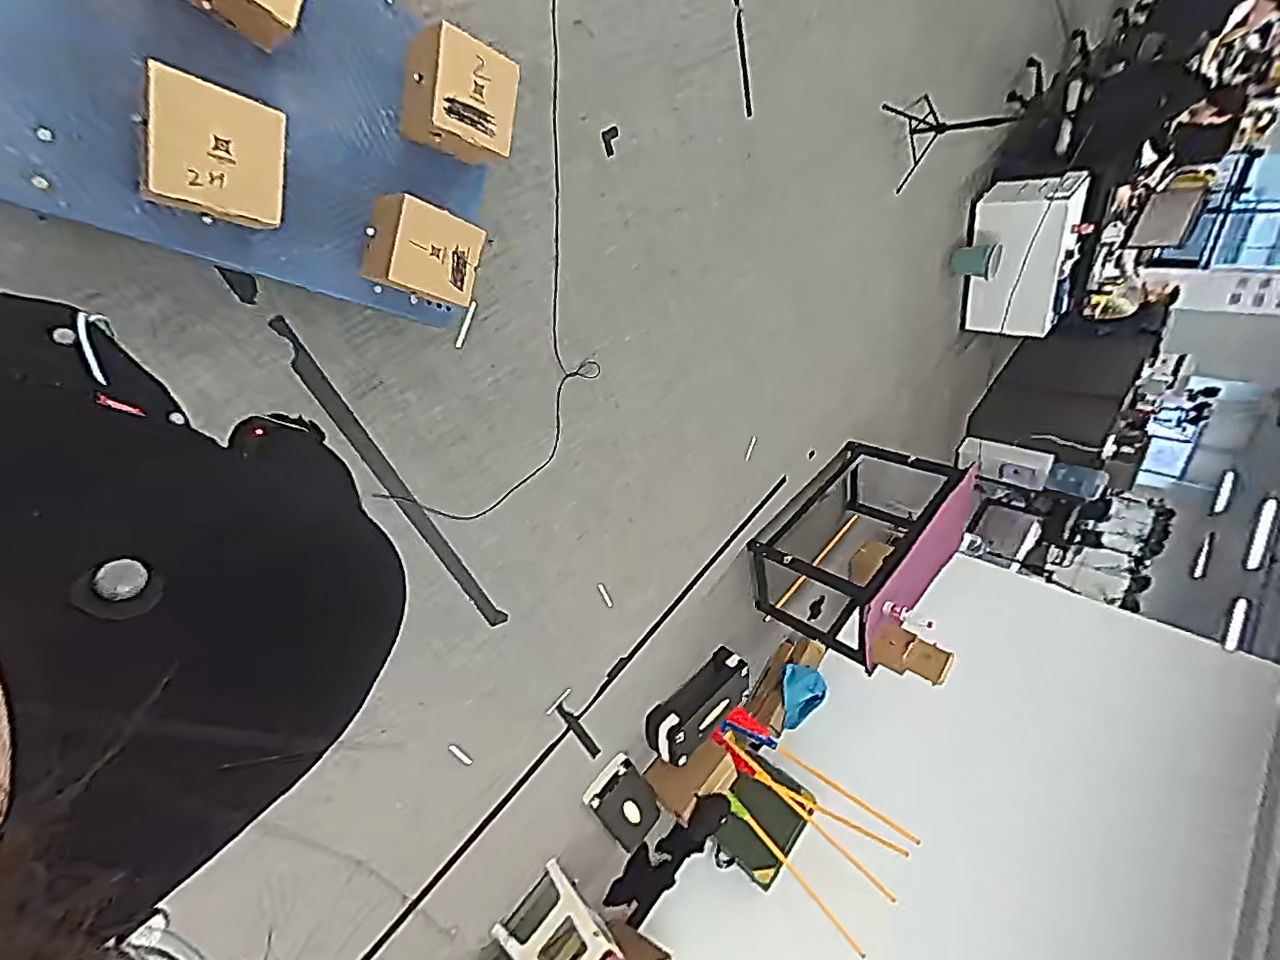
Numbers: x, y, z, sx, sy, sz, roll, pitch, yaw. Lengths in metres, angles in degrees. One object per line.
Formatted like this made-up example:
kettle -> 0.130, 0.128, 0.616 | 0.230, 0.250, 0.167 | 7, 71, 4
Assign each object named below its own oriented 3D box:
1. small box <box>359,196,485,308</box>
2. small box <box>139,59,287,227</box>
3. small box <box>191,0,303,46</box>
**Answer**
small box -> -0.464, -0.480, 1.147 | 0.179, 0.176, 0.168 | 8, 101, -47
small box -> -0.697, -0.529, 0.878 | 0.168, 0.176, 0.179 | 0, 108, -46
small box -> -0.620, -0.822, 0.829 | 0.168, 0.176, 0.179 | 14, 99, -49
